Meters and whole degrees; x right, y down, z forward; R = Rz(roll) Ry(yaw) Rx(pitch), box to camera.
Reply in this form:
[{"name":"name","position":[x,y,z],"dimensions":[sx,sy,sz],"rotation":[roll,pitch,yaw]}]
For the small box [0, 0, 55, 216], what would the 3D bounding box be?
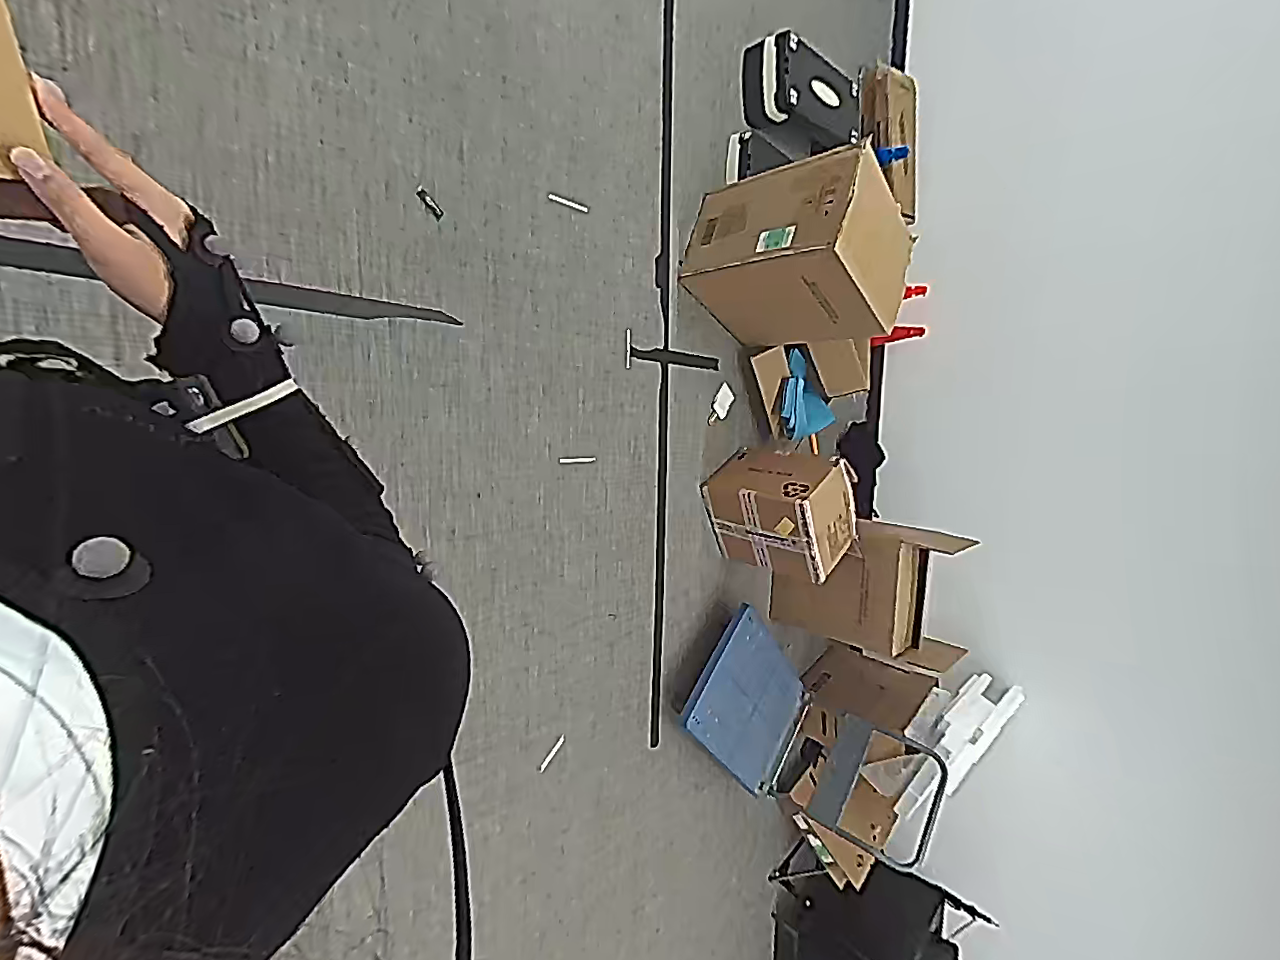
[{"name":"small box","position":[-0.449,-0.242,0.279],"dimensions":[0.179,0.176,0.168],"rotation":[-18,115,-44]}]
